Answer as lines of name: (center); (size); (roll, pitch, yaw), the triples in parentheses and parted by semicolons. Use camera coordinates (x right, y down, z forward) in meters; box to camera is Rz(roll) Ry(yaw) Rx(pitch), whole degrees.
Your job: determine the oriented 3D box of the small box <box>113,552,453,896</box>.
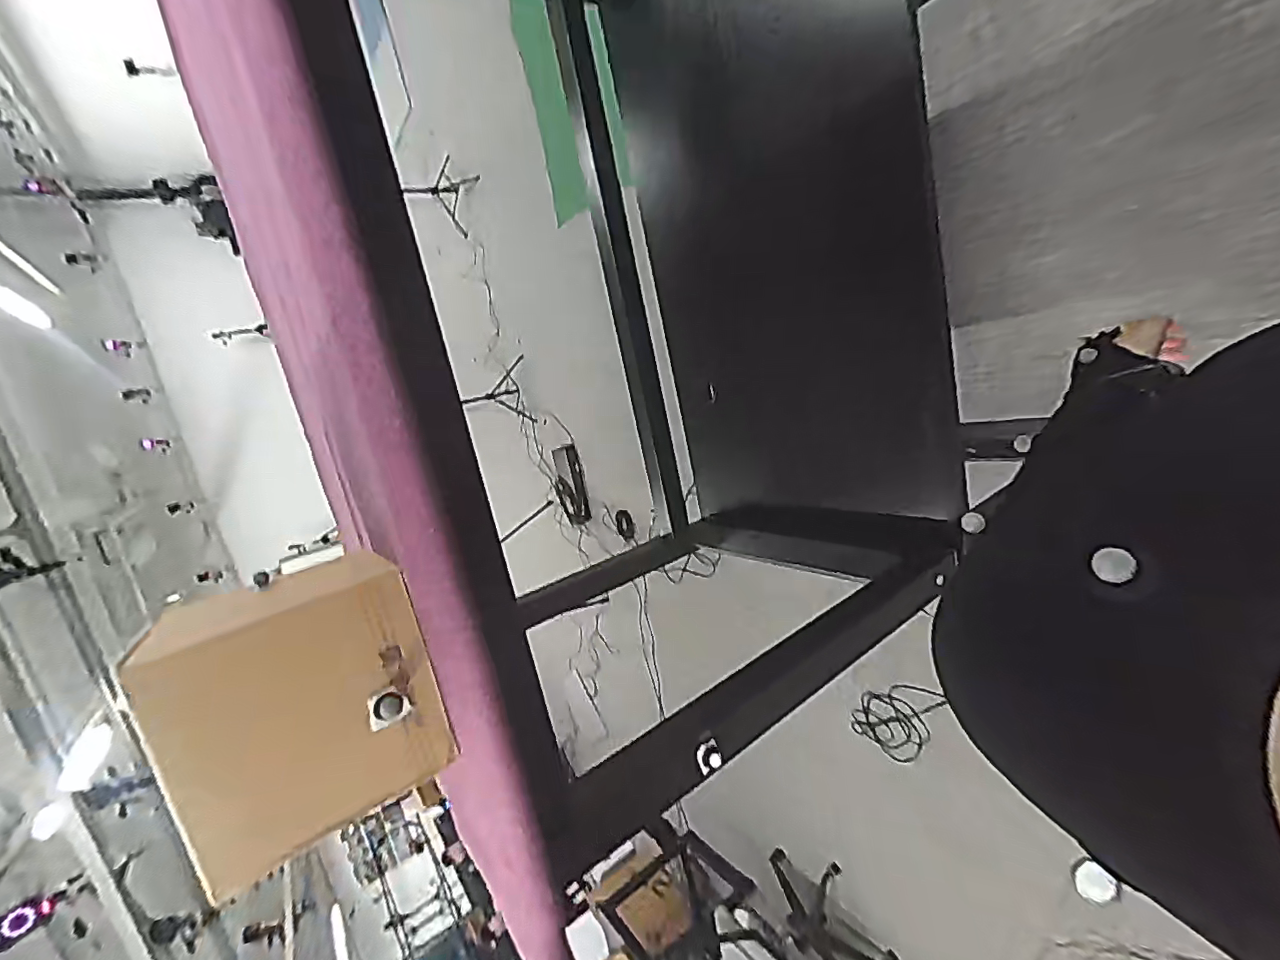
small box: (-0.272, 0.166, 0.443); (0.179, 0.176, 0.168); (-4, 104, 56)
